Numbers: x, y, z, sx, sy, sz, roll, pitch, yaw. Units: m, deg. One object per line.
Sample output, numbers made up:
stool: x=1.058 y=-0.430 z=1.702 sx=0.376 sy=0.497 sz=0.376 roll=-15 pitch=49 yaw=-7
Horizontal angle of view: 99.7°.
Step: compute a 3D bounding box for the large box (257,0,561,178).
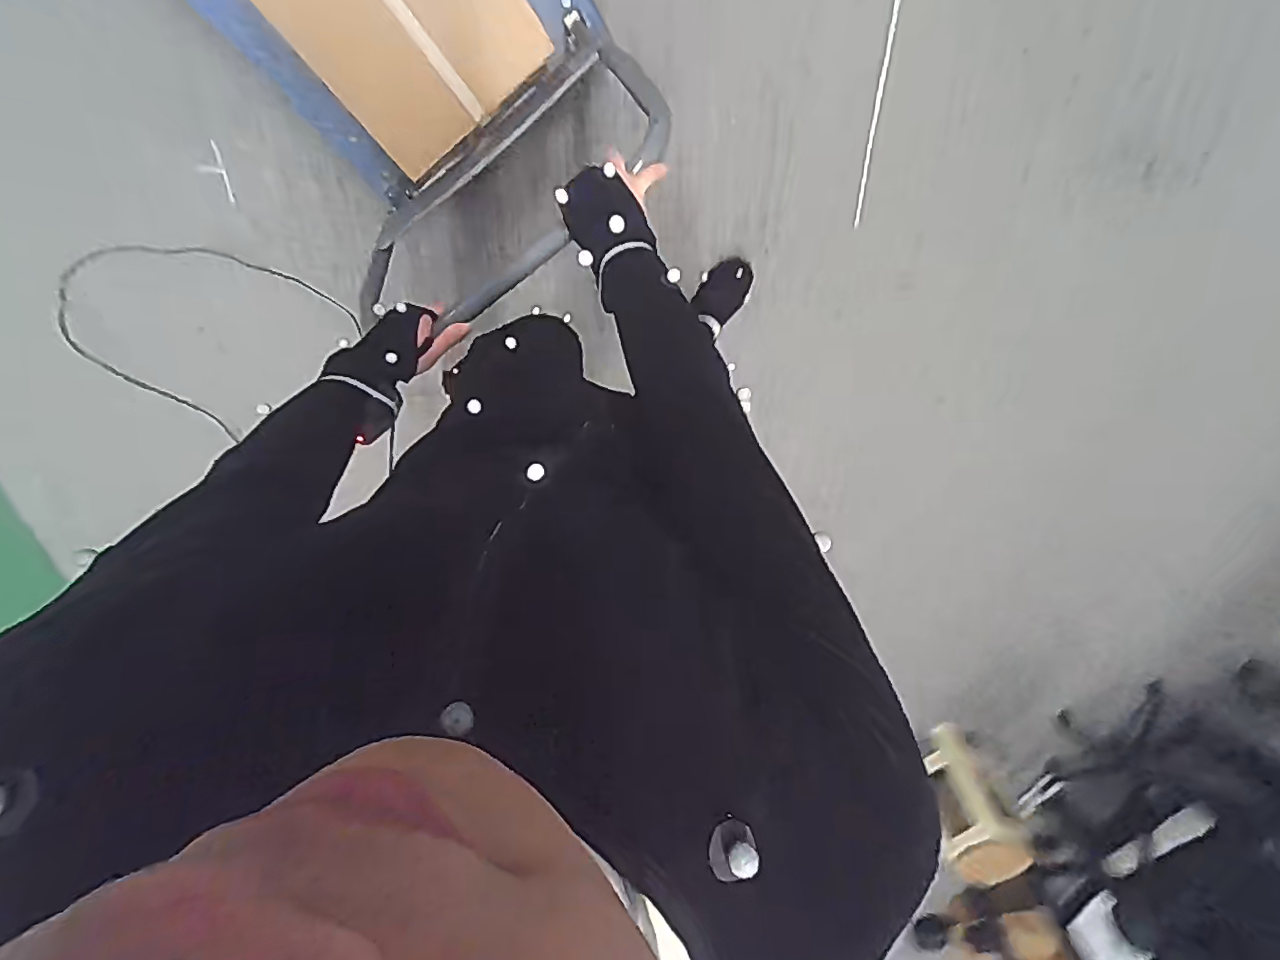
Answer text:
large box: x=-0.371 y=-0.781 z=0.846 sx=0.320 sy=0.320 sz=0.408 roll=-32 pitch=129 yaw=16
